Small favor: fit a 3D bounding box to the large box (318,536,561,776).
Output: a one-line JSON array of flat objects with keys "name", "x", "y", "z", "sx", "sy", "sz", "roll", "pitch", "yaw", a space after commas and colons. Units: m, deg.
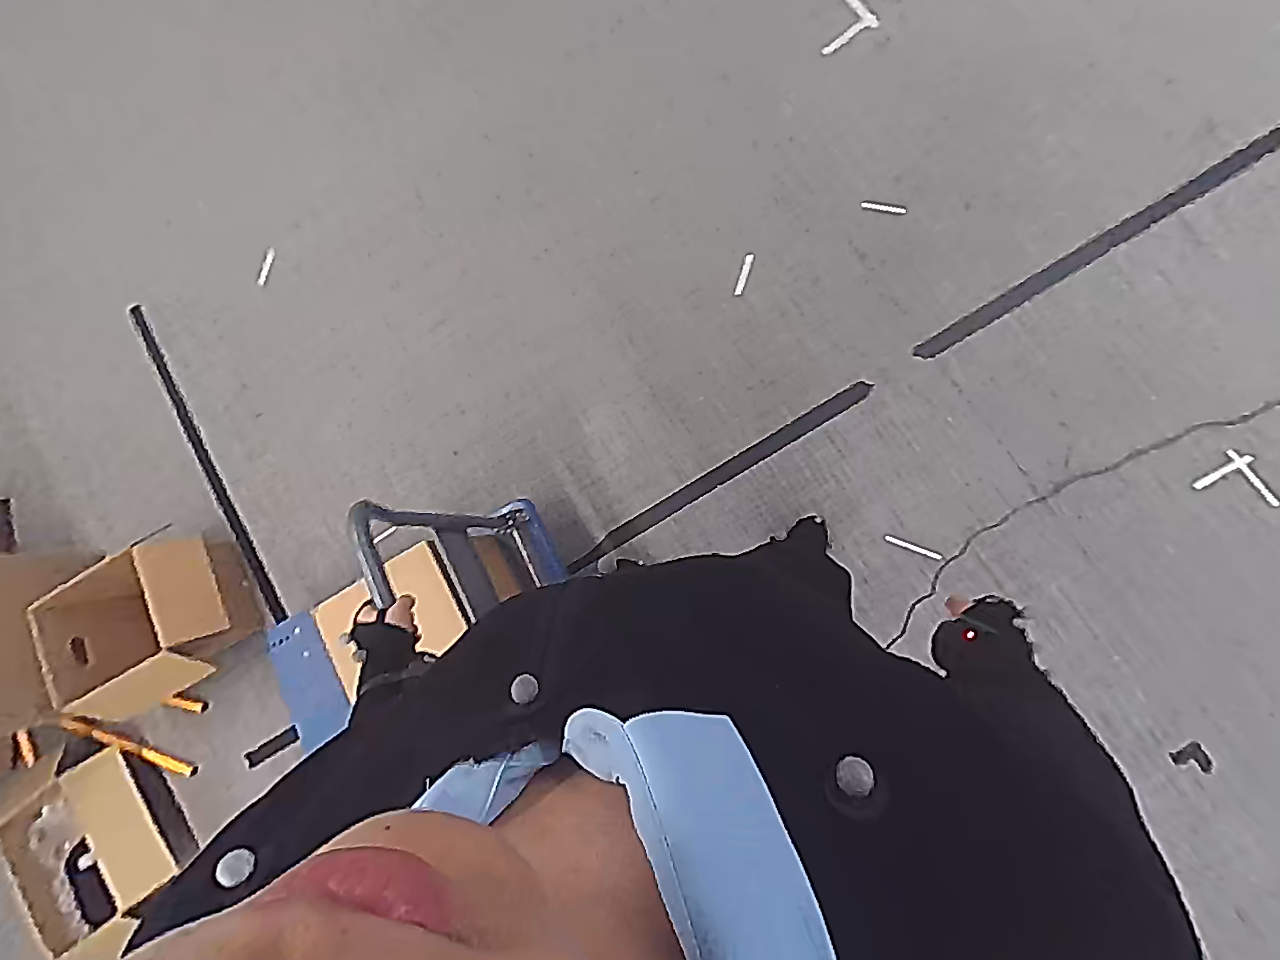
[{"name": "large box", "x": -0.447, "y": 0.379, "z": 1.269, "sx": 0.320, "sy": 0.320, "sz": 0.408, "roll": -31, "pitch": 80, "yaw": 7}]
